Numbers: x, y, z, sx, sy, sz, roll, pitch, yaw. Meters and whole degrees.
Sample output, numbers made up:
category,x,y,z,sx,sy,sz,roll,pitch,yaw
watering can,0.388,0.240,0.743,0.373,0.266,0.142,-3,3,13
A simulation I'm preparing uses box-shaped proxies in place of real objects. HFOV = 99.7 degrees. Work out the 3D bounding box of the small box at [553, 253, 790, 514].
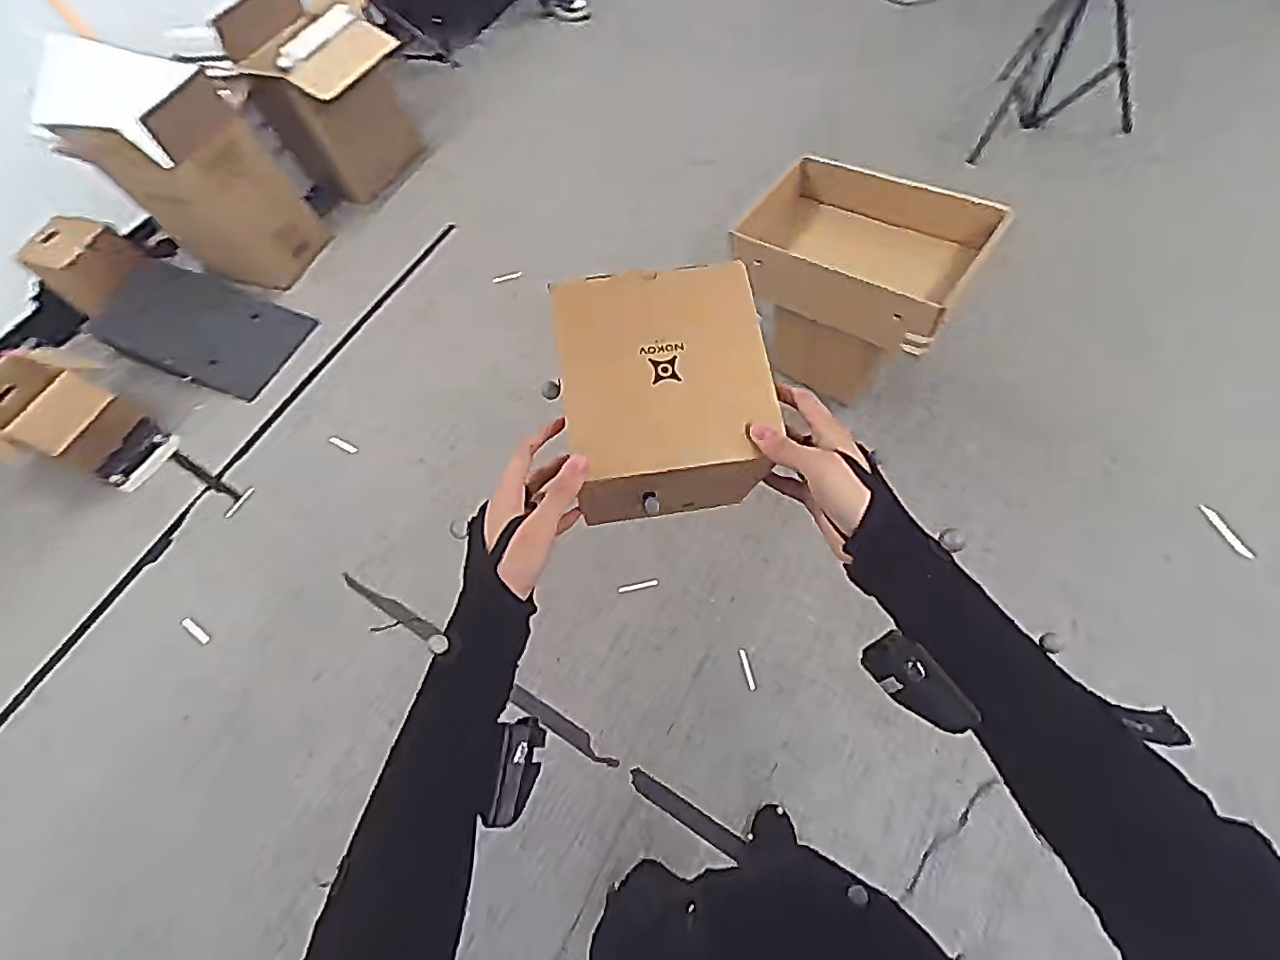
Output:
category,x,y,z,sx,sy,sz,roll,pitch,yaw
small box,0.019,-0.072,0.493,0.168,0.176,0.179,-7,74,-4
